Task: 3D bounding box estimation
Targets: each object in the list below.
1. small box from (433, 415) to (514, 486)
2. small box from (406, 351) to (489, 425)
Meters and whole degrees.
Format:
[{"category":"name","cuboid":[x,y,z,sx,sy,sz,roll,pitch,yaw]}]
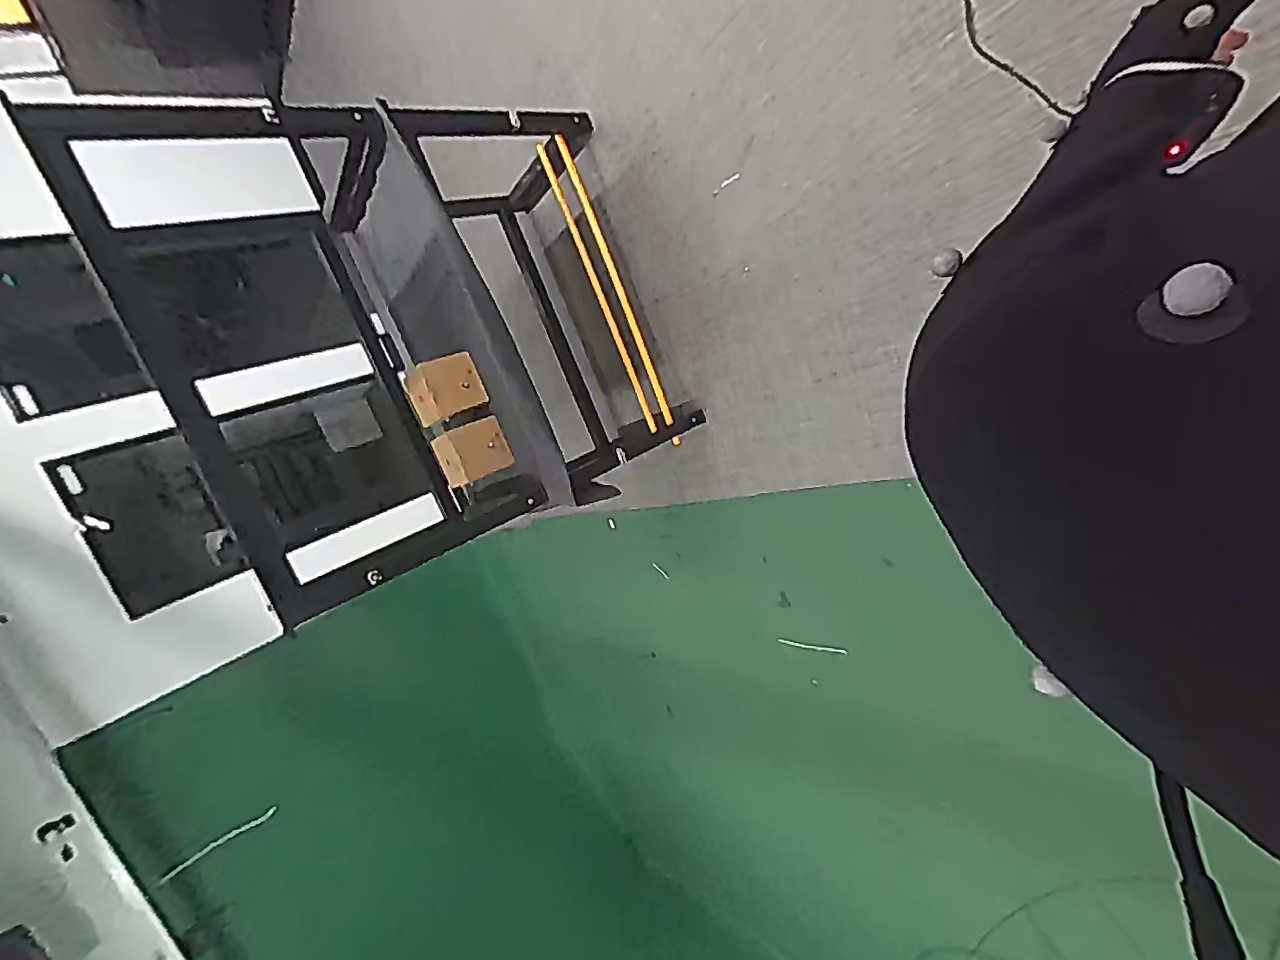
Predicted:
[{"category":"small box","cuboid":[-0.528,-0.093,1.723,0.179,0.176,0.168,-12,103,53]},{"category":"small box","cuboid":[-0.599,-0.286,1.691,0.179,0.176,0.168,-11,104,53]}]
